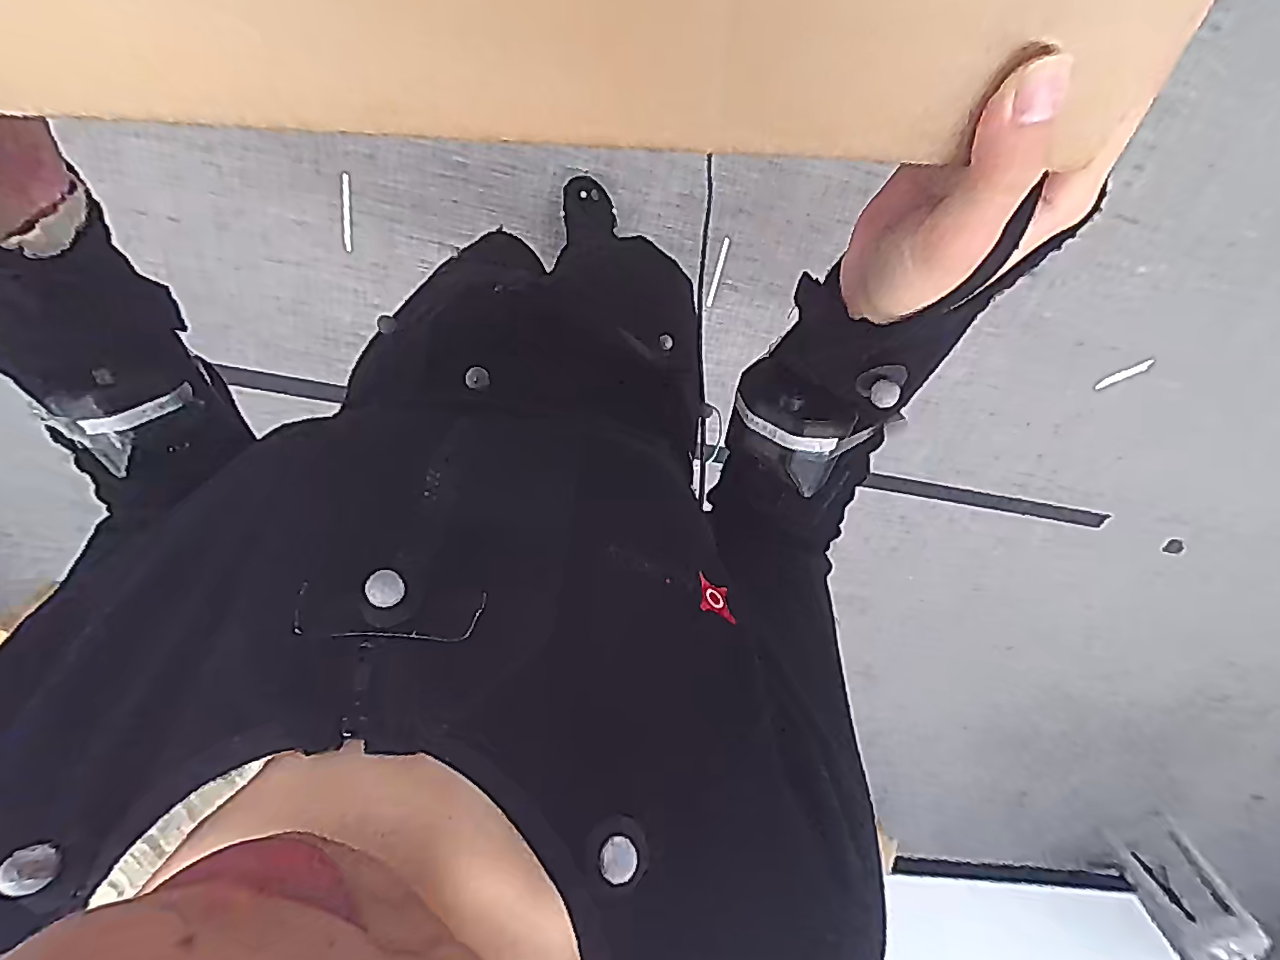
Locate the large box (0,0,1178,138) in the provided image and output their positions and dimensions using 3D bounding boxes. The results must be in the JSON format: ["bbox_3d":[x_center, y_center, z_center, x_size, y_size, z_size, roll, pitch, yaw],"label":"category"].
[{"bbox_3d":[-0.047,-0.326,0.139,0.408,0.320,0.320,3,145,0],"label":"large box"}]
